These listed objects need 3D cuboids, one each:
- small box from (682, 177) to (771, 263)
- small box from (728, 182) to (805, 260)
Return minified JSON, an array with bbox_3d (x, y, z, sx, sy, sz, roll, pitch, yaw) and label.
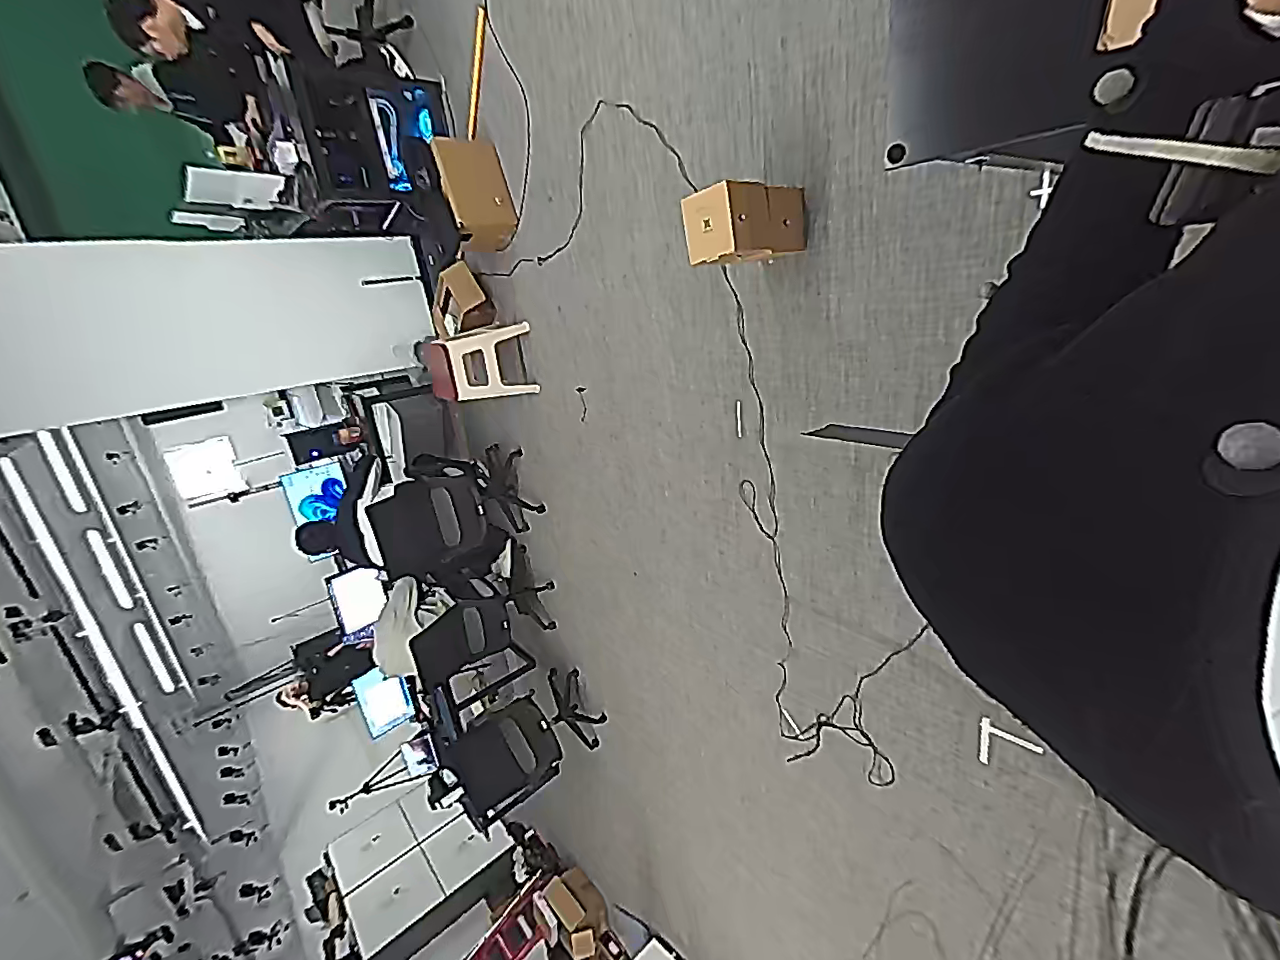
[{"bbox_3d":[0.242,-0.711,1.485,0.168,0.176,0.179,6,111,49],"label":"small box"},{"bbox_3d":[0.365,-0.753,1.582,0.168,0.176,0.179,11,117,49],"label":"small box"}]
